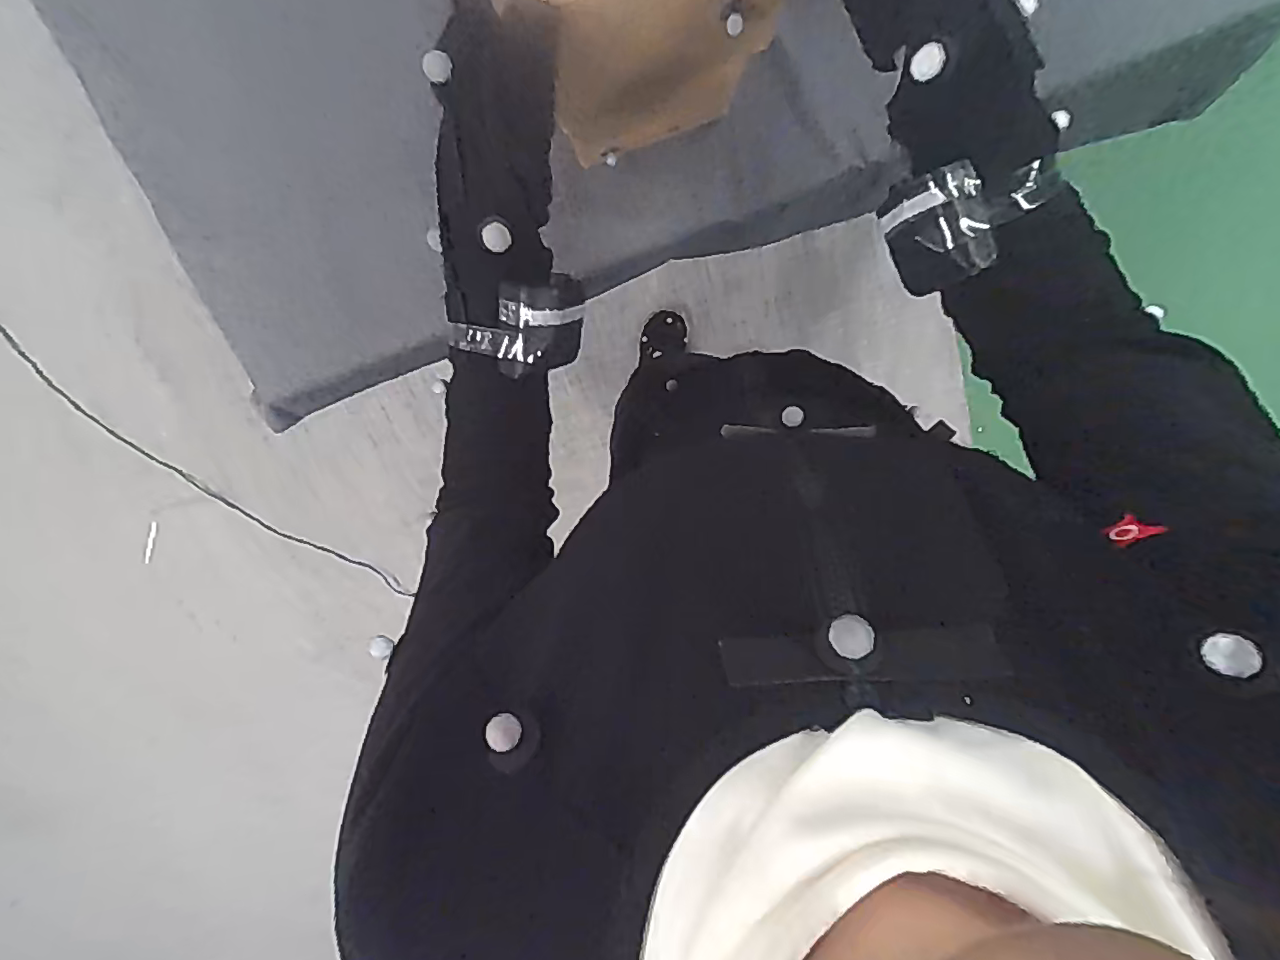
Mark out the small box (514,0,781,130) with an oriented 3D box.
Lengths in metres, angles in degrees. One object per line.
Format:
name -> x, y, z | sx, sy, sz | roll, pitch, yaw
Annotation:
small box -> -0.006, -0.357, 0.326 | 0.179, 0.176, 0.168 | -24, 104, 7

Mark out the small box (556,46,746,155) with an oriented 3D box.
small box -> -0.012, -0.425, 0.492 | 0.168, 0.176, 0.179 | -18, 105, 6

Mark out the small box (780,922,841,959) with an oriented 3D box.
small box -> 0.598, 1.656, 1.841 | 0.179, 0.176, 0.168 | -21, 107, 7
